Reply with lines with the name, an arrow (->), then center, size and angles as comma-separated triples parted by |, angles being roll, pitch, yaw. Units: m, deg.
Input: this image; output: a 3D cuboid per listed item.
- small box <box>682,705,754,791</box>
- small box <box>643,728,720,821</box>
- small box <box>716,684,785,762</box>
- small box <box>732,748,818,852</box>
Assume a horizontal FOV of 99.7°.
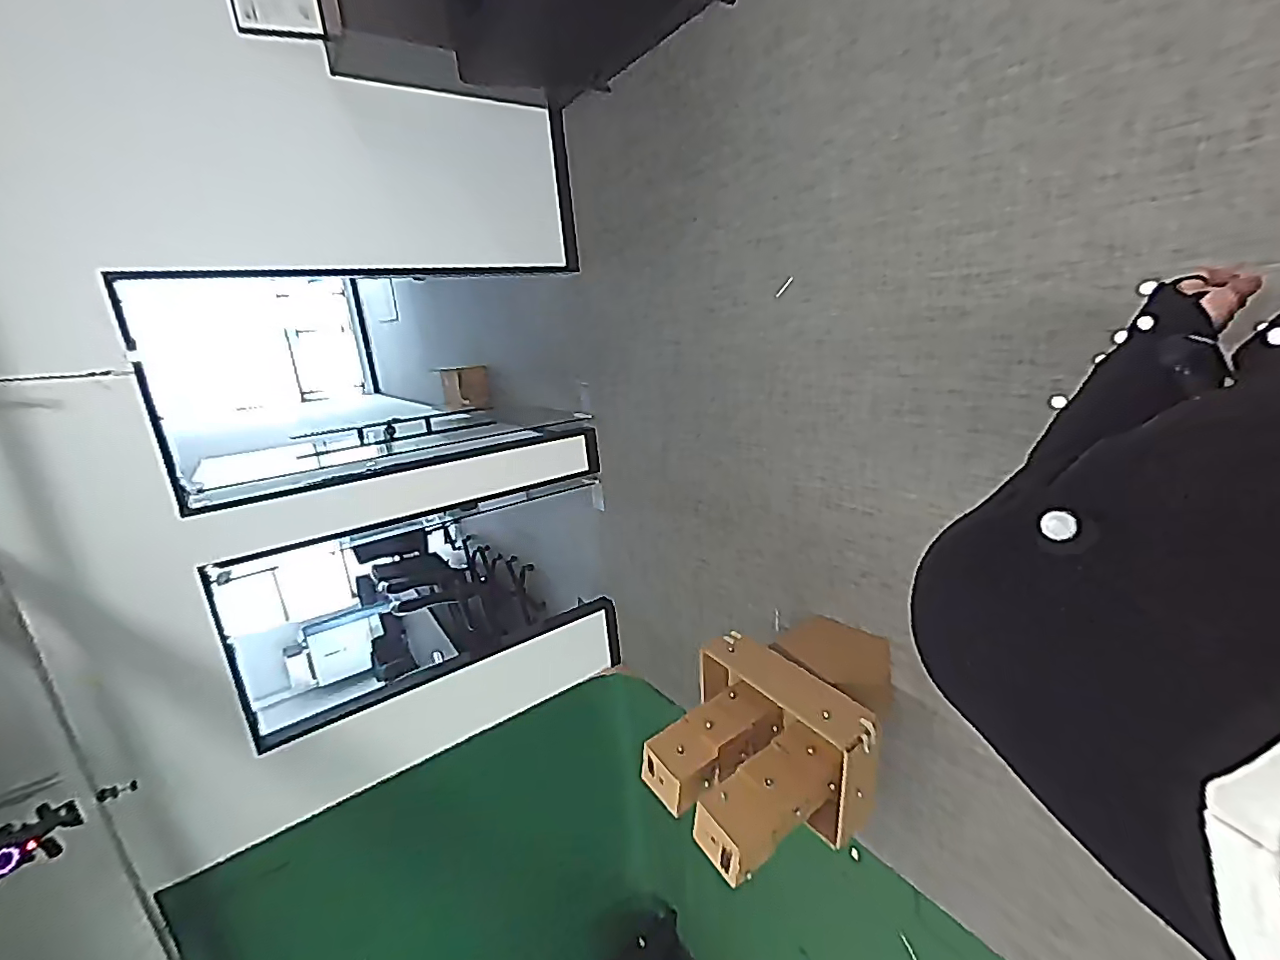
small box -> 0.263, 0.891, 1.823 | 0.179, 0.176, 0.168 | 17, 116, 49
small box -> 0.131, 0.931, 1.733 | 0.179, 0.176, 0.168 | 28, 125, 44
small box -> 0.389, 0.853, 1.916 | 0.179, 0.176, 0.168 | 19, 118, 50
small box -> 0.408, 0.955, 1.632 | 0.179, 0.176, 0.168 | 34, 128, 46
